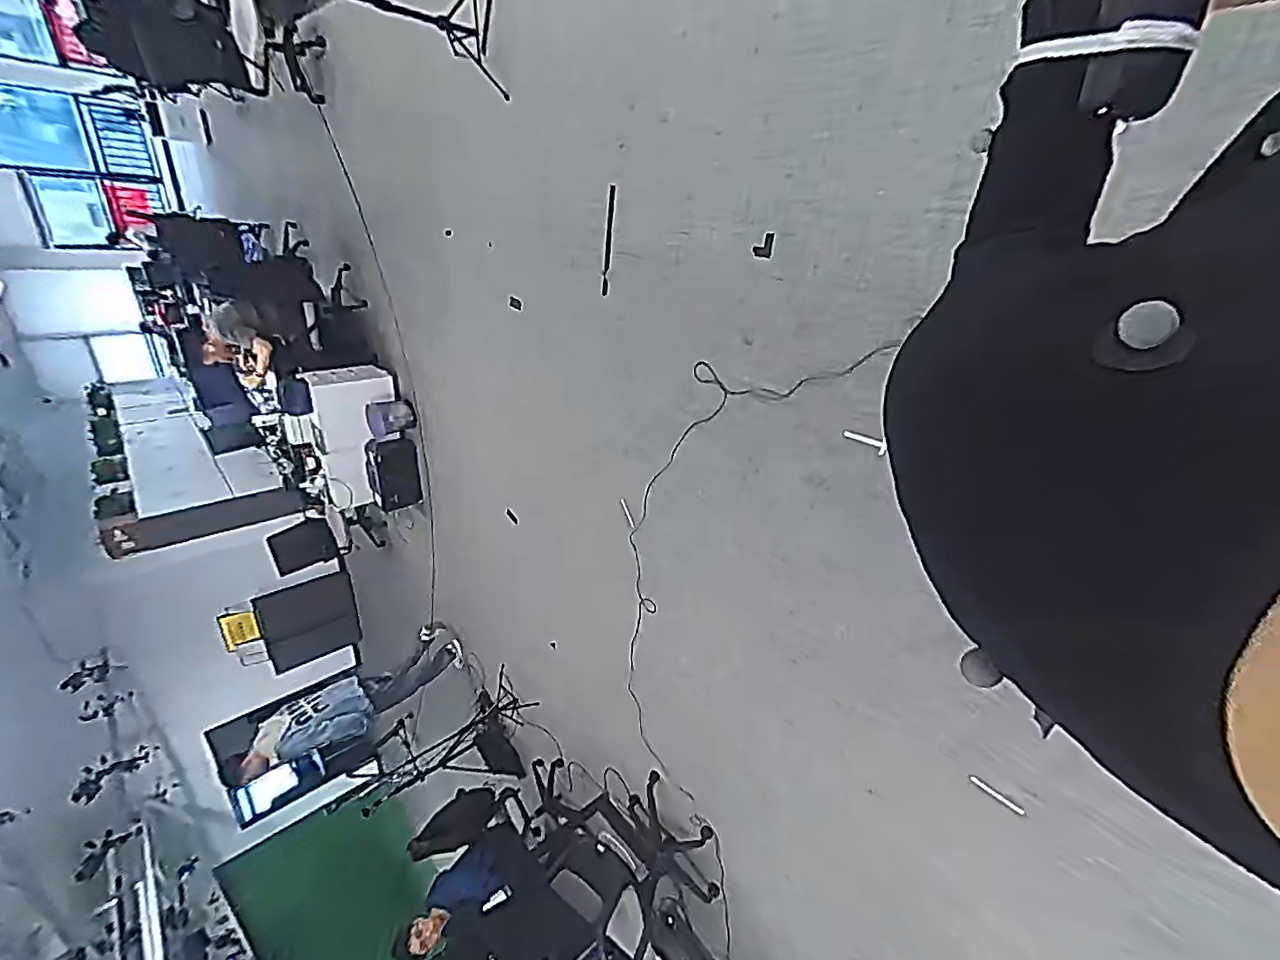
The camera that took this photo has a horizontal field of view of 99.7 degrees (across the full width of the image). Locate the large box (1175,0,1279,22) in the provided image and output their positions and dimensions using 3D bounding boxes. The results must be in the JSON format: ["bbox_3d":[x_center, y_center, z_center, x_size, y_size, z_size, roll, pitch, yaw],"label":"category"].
[{"bbox_3d":[0.533,-0.444,0.216,0.408,0.320,0.320,21,130,39],"label":"large box"}]
